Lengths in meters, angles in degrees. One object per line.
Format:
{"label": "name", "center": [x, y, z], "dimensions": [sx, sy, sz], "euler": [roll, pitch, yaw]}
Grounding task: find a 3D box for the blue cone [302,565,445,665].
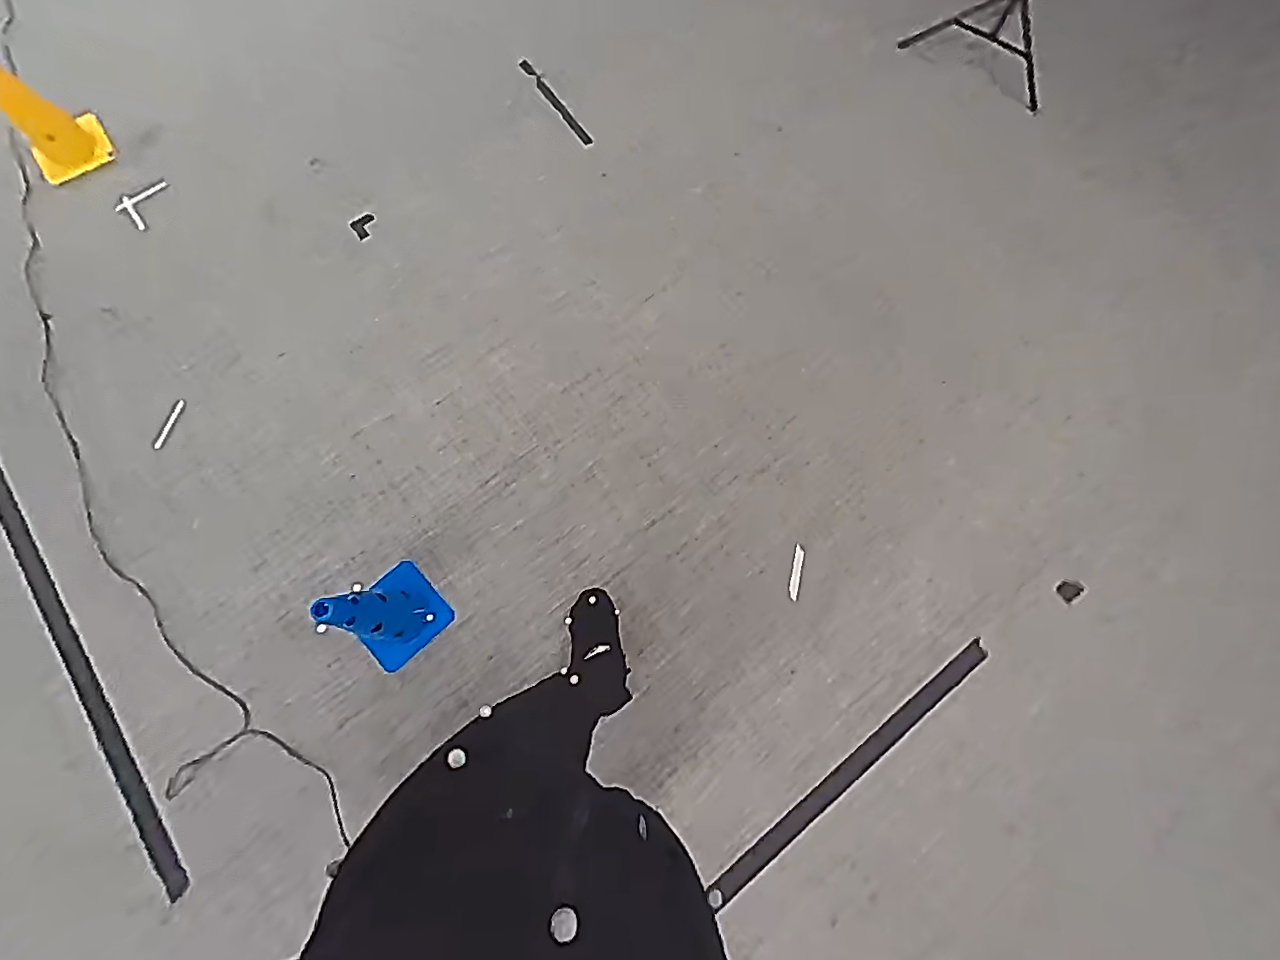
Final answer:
{"label": "blue cone", "center": [-0.579, 0.278, 1.138], "dimensions": [0.192, 0.380, 0.193], "euler": [-40, 80, -11]}
